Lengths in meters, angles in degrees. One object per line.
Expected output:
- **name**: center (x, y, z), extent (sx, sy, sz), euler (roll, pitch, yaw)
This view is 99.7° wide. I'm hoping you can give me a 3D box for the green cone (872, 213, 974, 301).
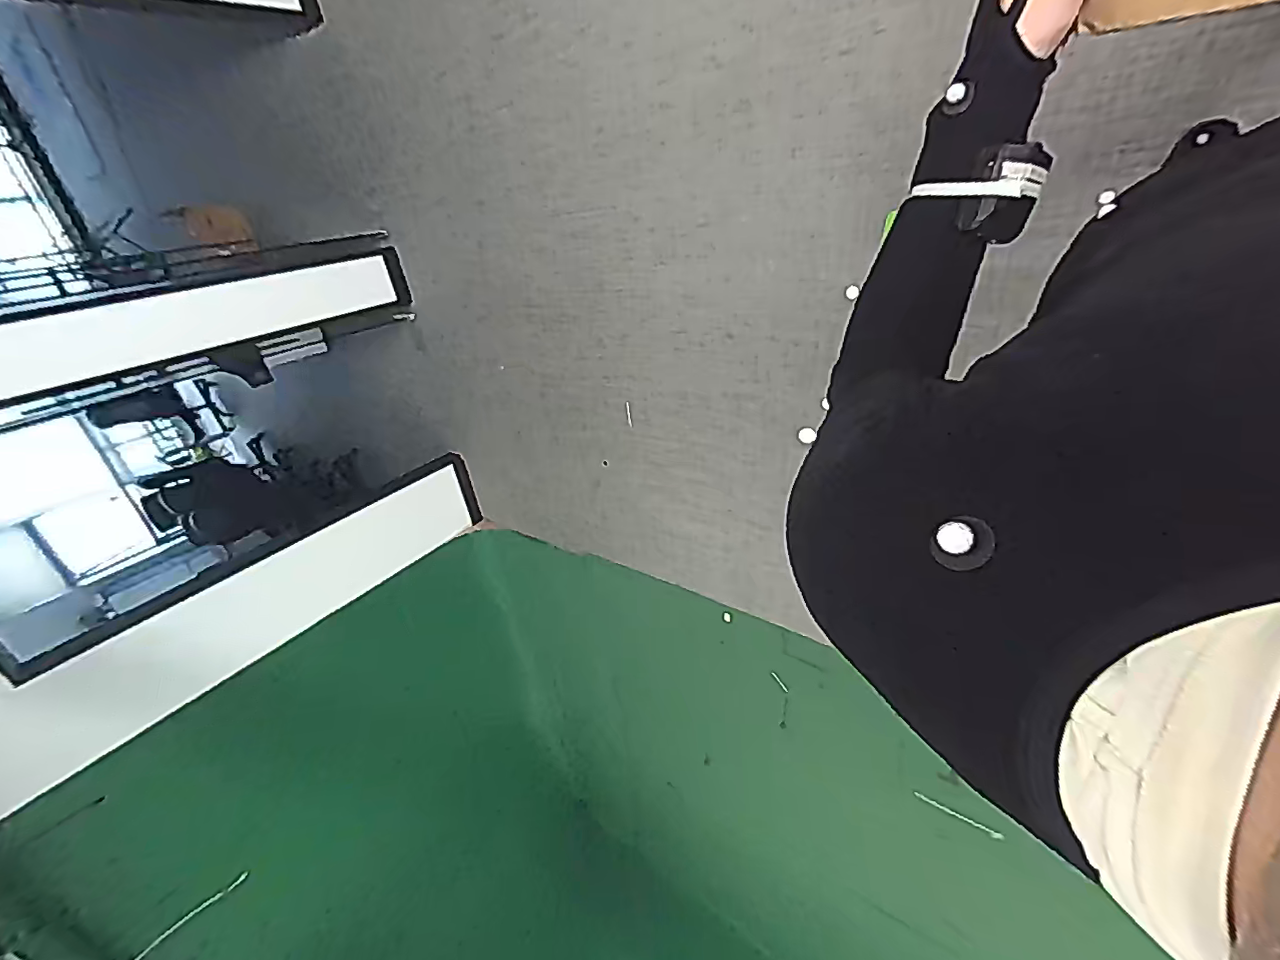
- **green cone**: center (0.623, -0.495, 1.278), extent (0.200, 0.368, 0.202), euler (20, 130, 32)
